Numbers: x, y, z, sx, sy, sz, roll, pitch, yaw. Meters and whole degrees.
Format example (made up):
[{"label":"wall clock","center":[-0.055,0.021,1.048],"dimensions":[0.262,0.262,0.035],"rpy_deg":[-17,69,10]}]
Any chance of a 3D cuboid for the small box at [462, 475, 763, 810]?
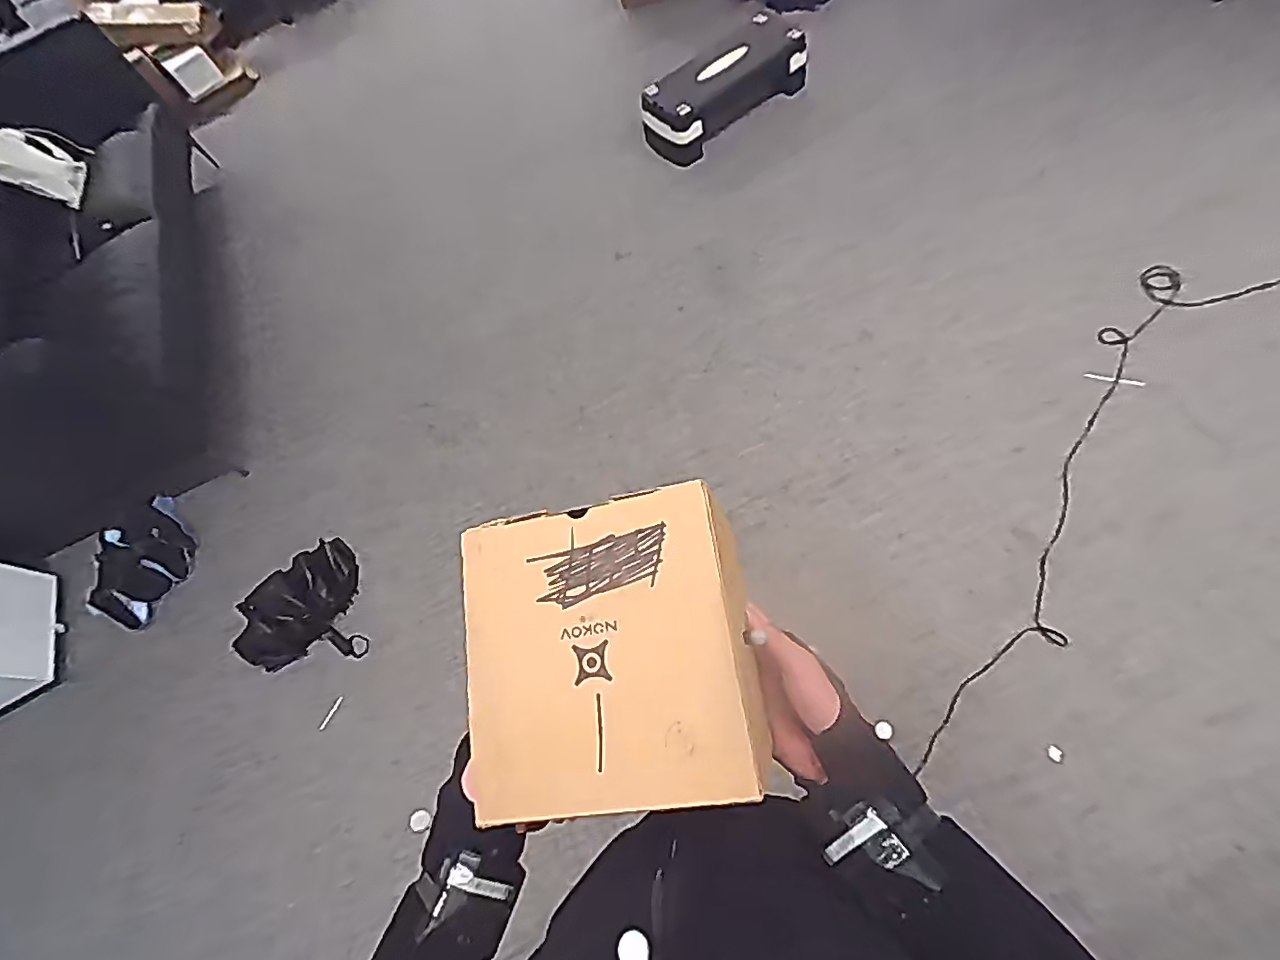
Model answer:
[{"label":"small box","center":[-0.010,0.113,0.393],"dimensions":[0.168,0.176,0.179],"rpy_deg":[-12,73,13]}]
